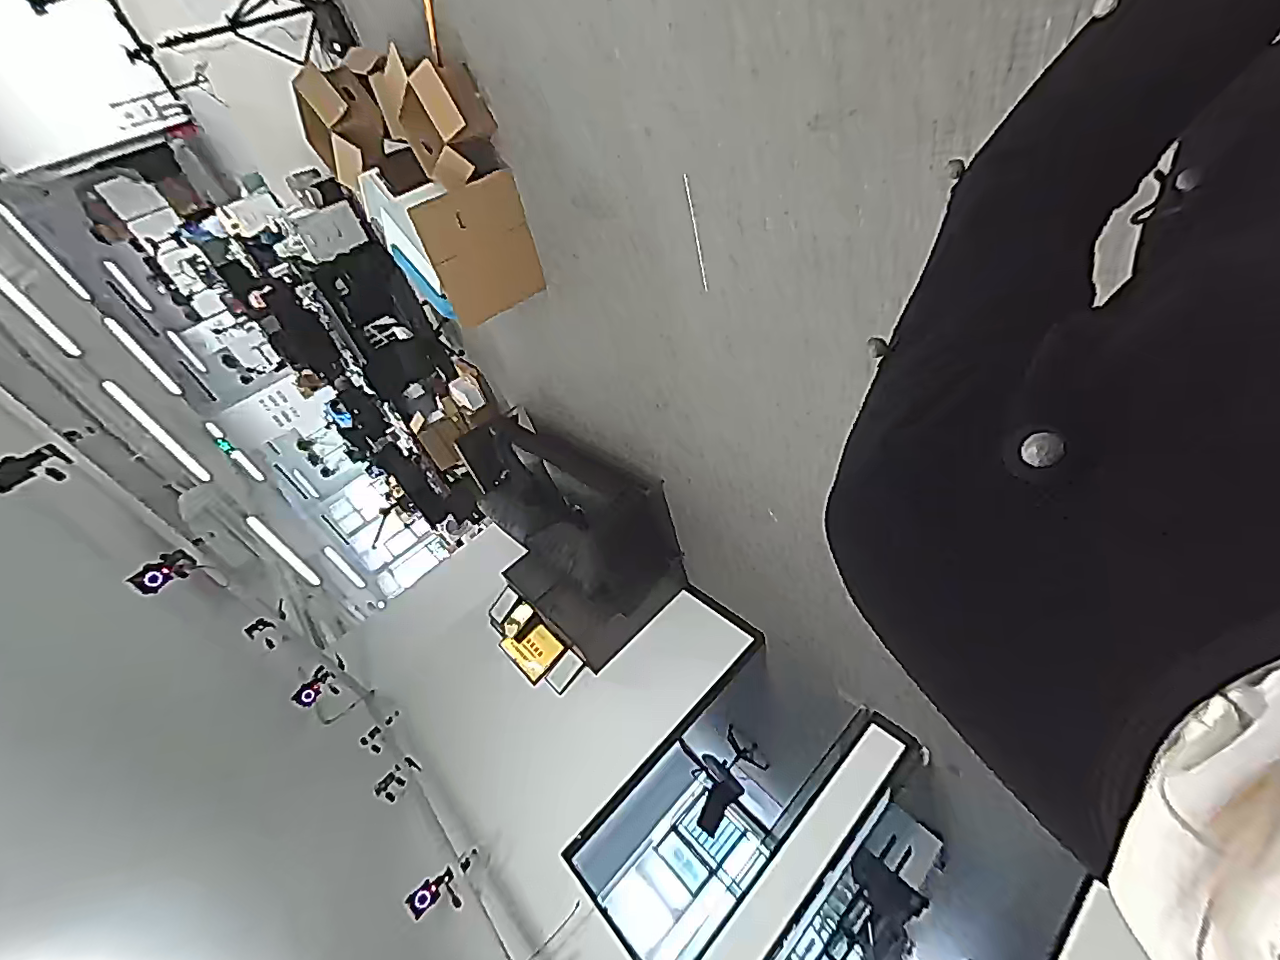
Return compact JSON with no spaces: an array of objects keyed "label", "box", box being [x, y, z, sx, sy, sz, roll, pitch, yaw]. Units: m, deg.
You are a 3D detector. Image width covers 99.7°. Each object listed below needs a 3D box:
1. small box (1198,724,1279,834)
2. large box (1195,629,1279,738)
[{"label":"small box","box":[1.551,0.739,1.336,0.168,0.176,0.179,56,156,-10]},{"label":"large box","box":[1.777,0.616,1.374,0.320,0.320,0.408,54,156,-11]}]
